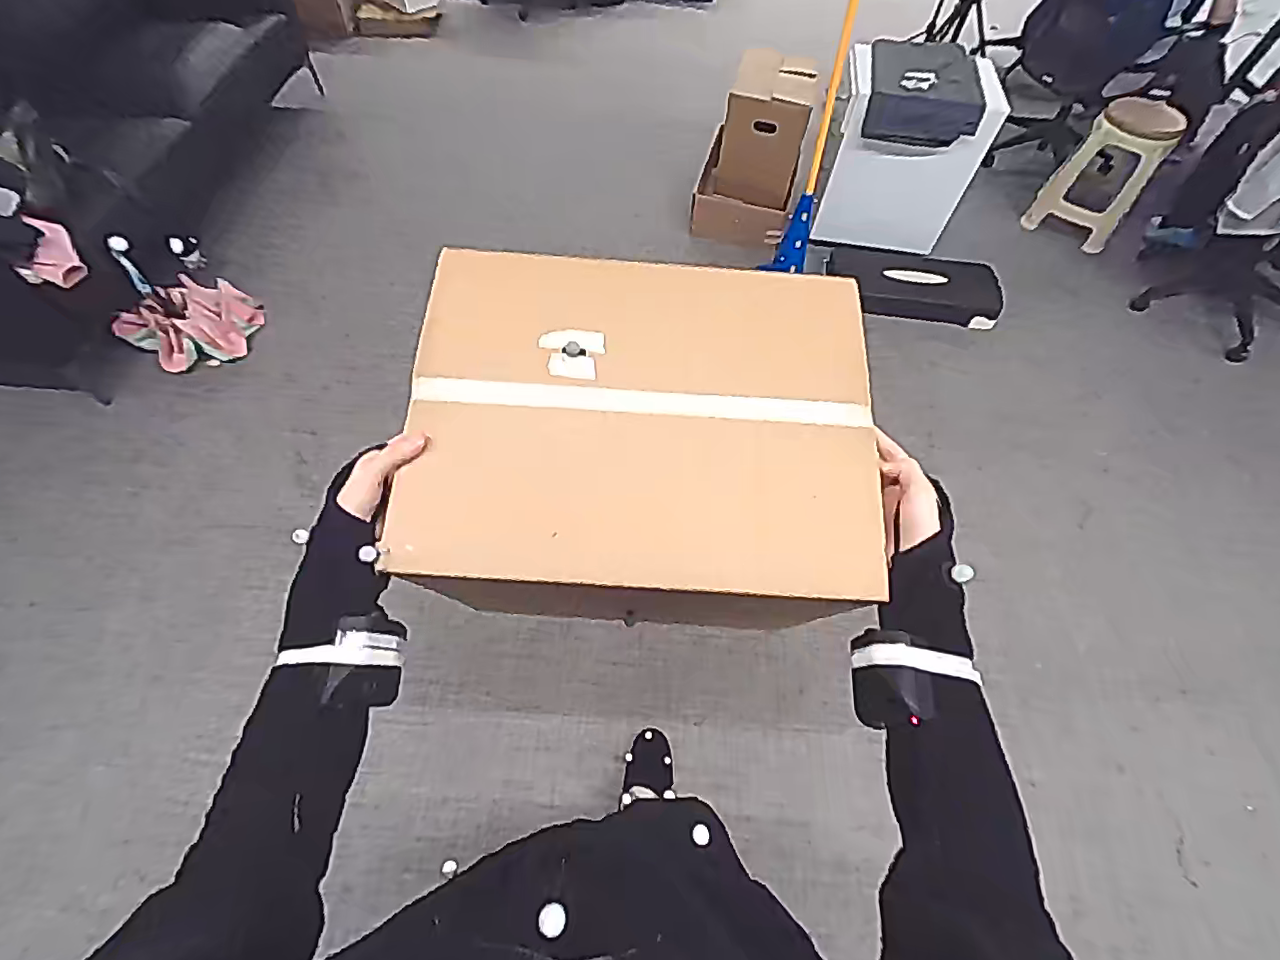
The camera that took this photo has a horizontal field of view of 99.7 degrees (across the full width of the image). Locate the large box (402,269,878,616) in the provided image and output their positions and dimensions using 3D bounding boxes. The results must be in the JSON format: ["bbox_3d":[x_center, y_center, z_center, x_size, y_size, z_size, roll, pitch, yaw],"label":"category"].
[{"bbox_3d":[0.005,-0.012,0.634,0.408,0.320,0.320,3,70,0],"label":"large box"}]
